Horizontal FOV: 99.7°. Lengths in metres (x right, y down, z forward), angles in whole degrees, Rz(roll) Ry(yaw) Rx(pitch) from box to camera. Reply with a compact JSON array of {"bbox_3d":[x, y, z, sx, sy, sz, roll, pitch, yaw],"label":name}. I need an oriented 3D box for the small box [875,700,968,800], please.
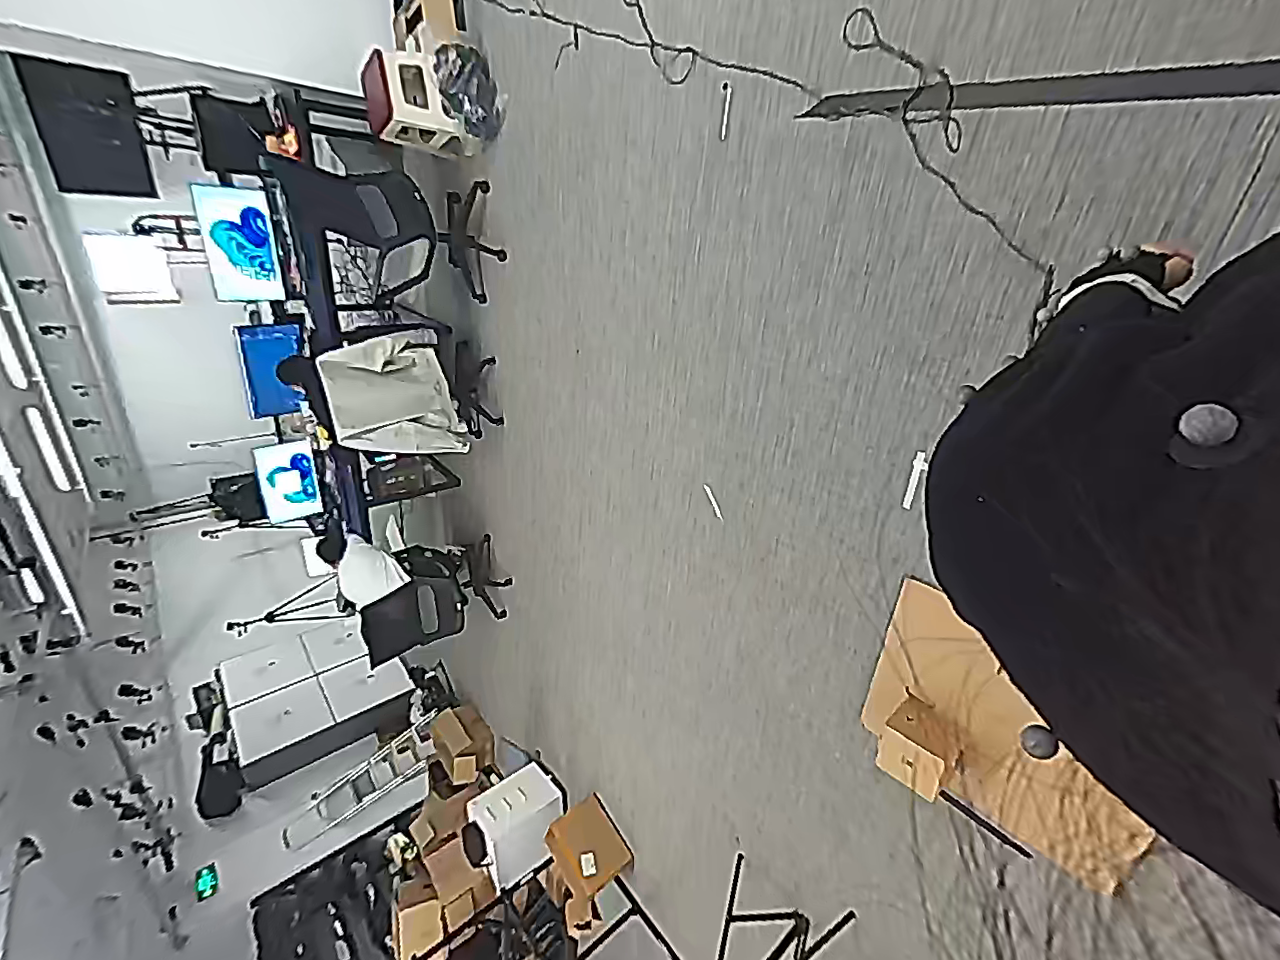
[{"bbox_3d":[0.832,0.786,1.601,0.179,0.176,0.168,23,121,44],"label":"small box"}]
